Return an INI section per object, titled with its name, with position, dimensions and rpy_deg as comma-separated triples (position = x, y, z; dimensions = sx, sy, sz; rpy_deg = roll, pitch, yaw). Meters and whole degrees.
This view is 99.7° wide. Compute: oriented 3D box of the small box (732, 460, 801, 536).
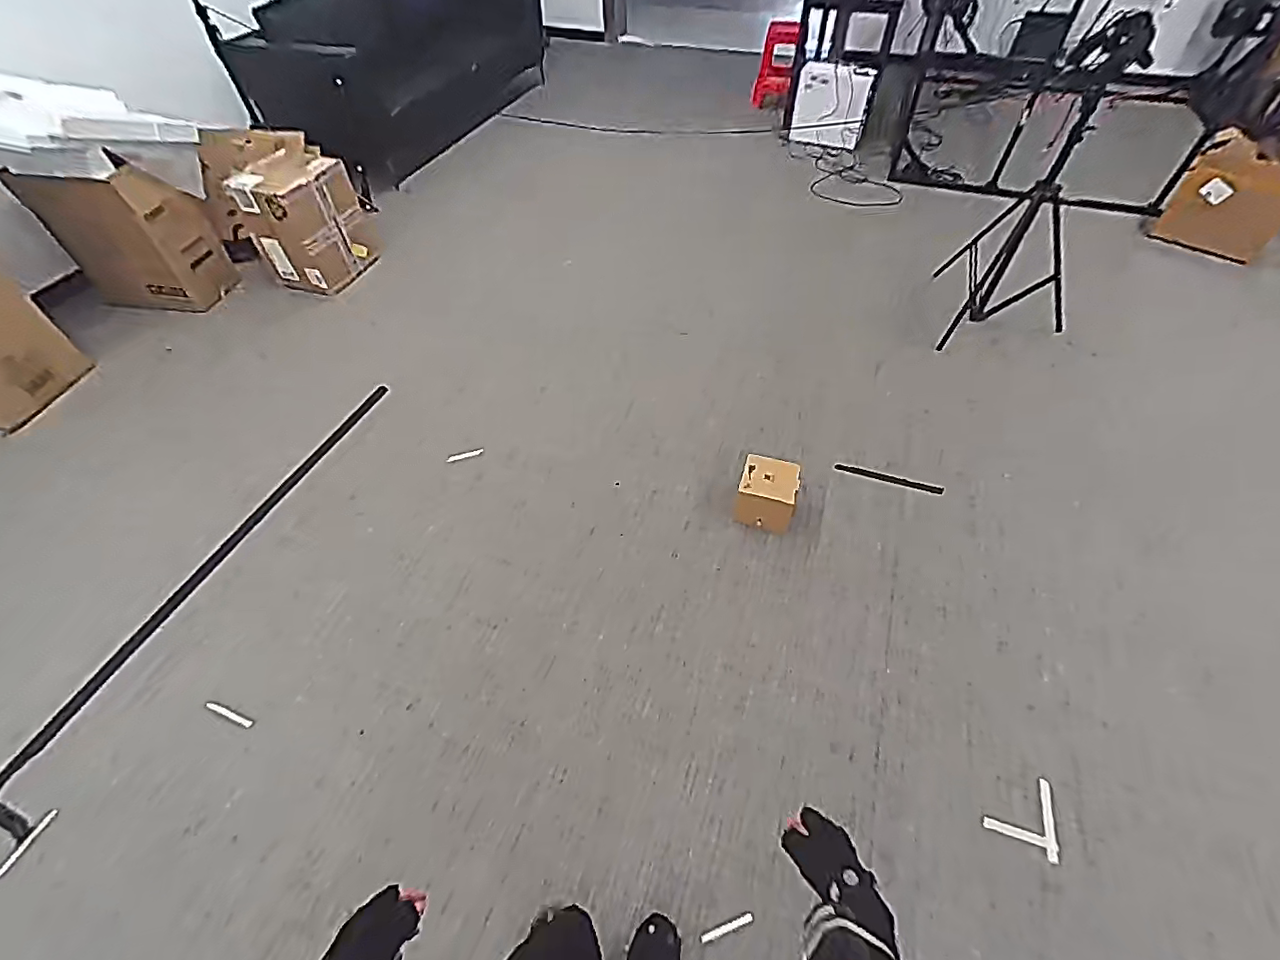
[small box]
position = 0.411, 0.063, 1.773
dimensions = 0.179, 0.176, 0.168
rpy_deg = 14, 53, 13
